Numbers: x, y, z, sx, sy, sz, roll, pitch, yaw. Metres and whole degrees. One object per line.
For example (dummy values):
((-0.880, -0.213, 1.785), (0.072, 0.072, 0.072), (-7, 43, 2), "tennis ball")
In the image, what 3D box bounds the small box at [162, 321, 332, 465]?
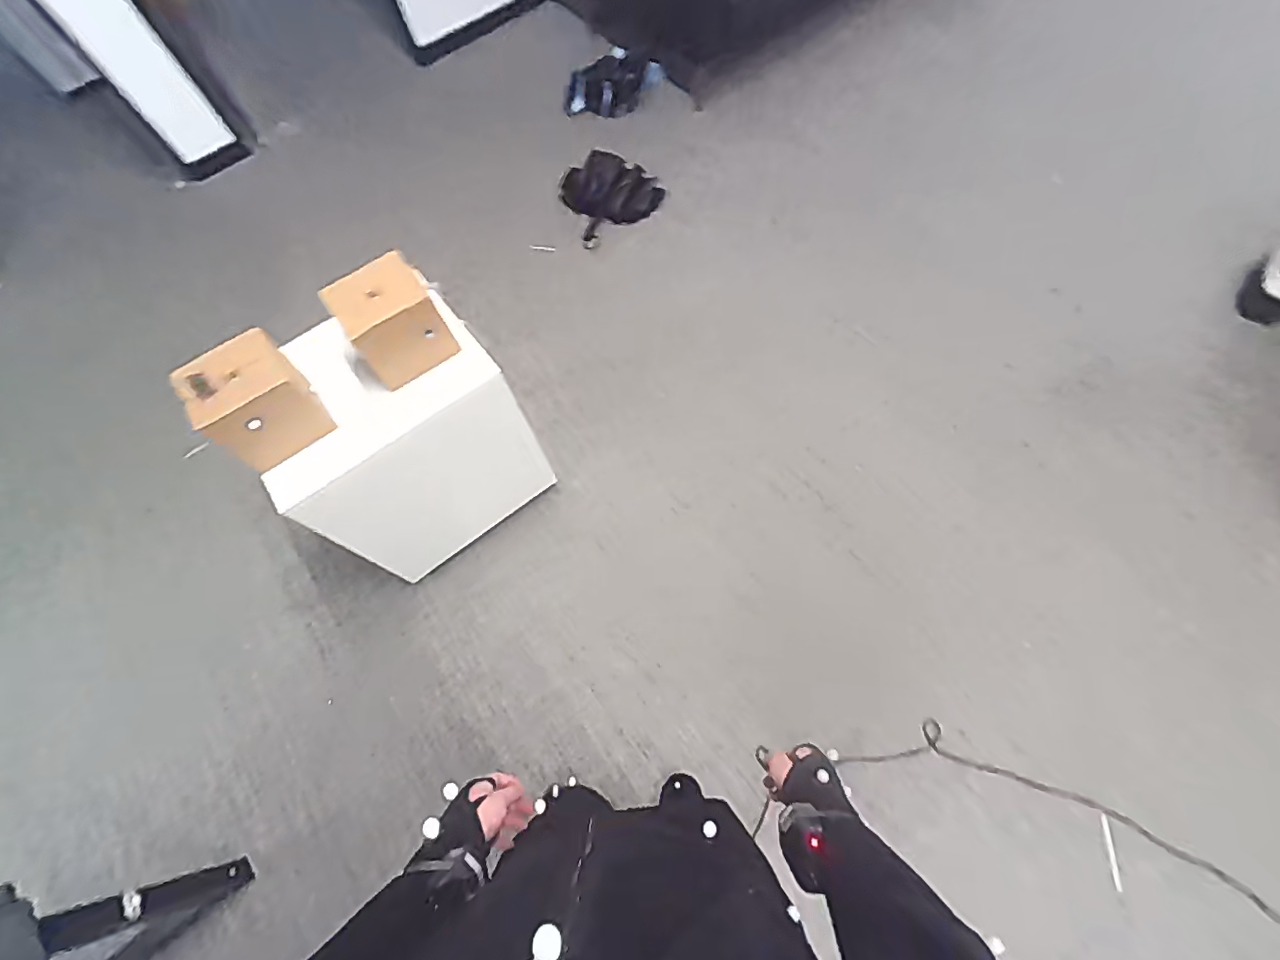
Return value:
((-0.740, -0.160, 1.033), (0.179, 0.176, 0.168), (-36, 68, -14), "small box")

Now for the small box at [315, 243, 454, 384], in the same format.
((-0.503, -0.332, 1.096), (0.179, 0.176, 0.168), (-36, 67, -10), "small box")
